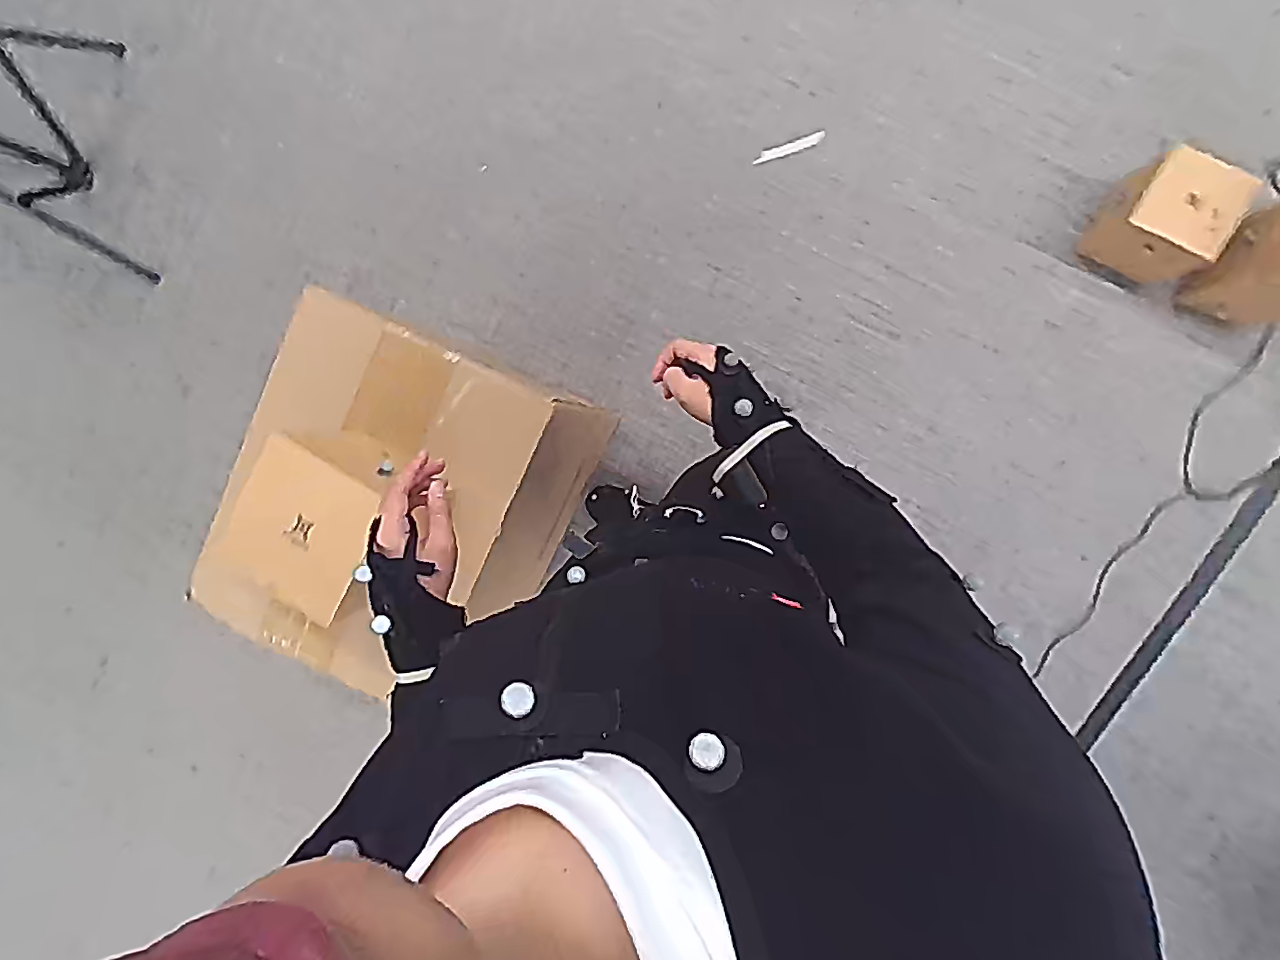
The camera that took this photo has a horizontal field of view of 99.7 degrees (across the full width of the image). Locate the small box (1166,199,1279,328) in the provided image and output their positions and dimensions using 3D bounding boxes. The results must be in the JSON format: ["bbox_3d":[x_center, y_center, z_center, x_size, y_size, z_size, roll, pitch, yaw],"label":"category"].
[{"bbox_3d":[1.265,-0.438,1.115,0.168,0.176,0.179,27,98,3],"label":"small box"}]

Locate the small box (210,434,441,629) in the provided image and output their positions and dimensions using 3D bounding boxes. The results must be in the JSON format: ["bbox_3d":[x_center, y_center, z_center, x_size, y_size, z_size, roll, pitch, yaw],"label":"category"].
[{"bbox_3d":[-0.386,0.052,0.698,0.168,0.176,0.179,30,98,2],"label":"small box"}]

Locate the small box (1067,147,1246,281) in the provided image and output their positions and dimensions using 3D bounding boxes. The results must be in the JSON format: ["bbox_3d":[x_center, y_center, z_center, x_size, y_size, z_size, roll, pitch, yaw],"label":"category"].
[{"bbox_3d":[1.057,-0.541,1.128,0.179,0.176,0.168,28,98,3],"label":"small box"}]
